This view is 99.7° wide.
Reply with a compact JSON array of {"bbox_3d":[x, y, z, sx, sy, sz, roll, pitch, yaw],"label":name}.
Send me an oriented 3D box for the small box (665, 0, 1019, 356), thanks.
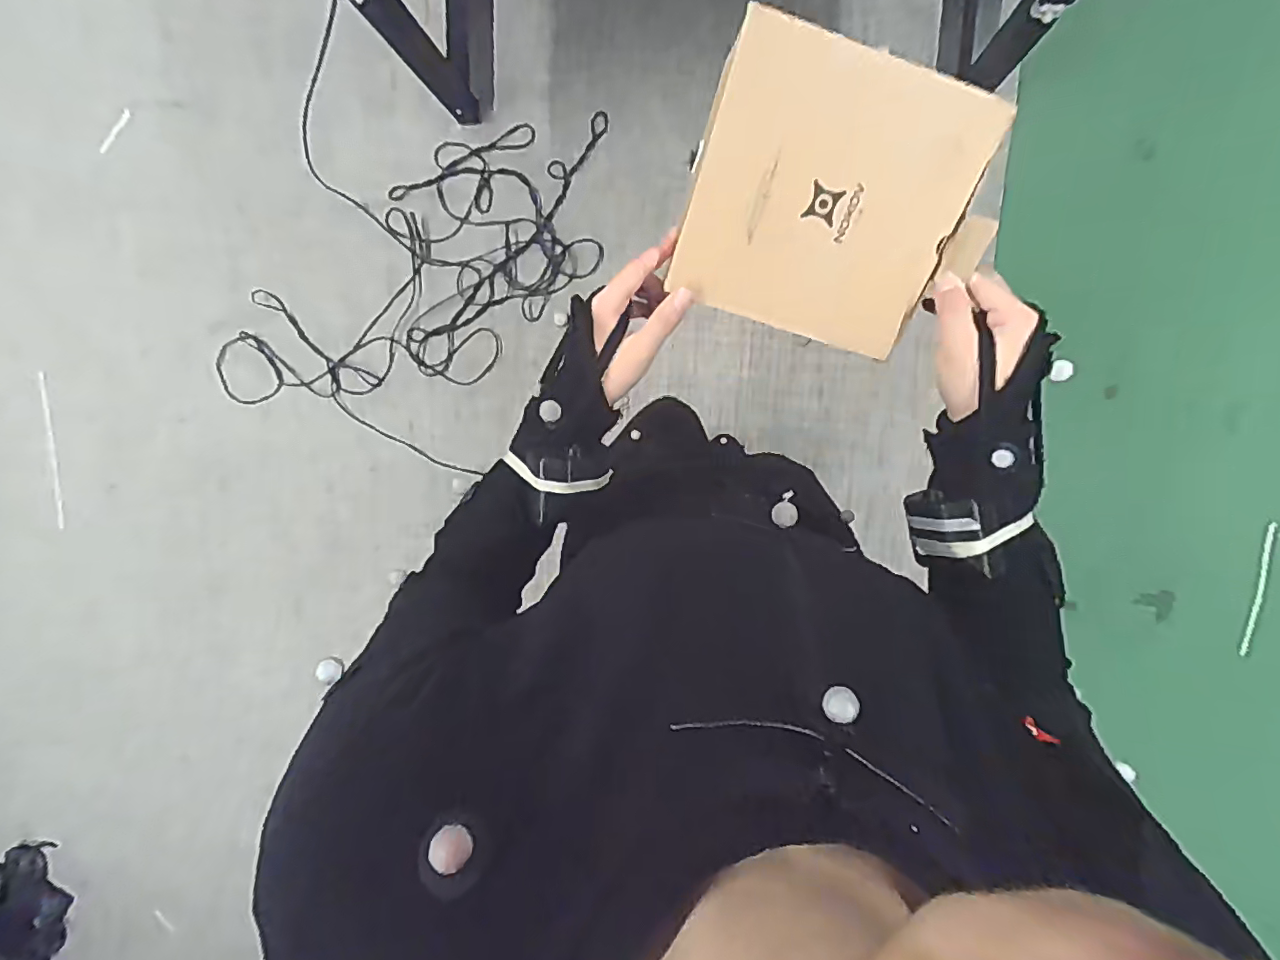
[{"bbox_3d":[0.125,-0.214,0.418,0.179,0.176,0.168,15,114,-5],"label":"small box"}]
